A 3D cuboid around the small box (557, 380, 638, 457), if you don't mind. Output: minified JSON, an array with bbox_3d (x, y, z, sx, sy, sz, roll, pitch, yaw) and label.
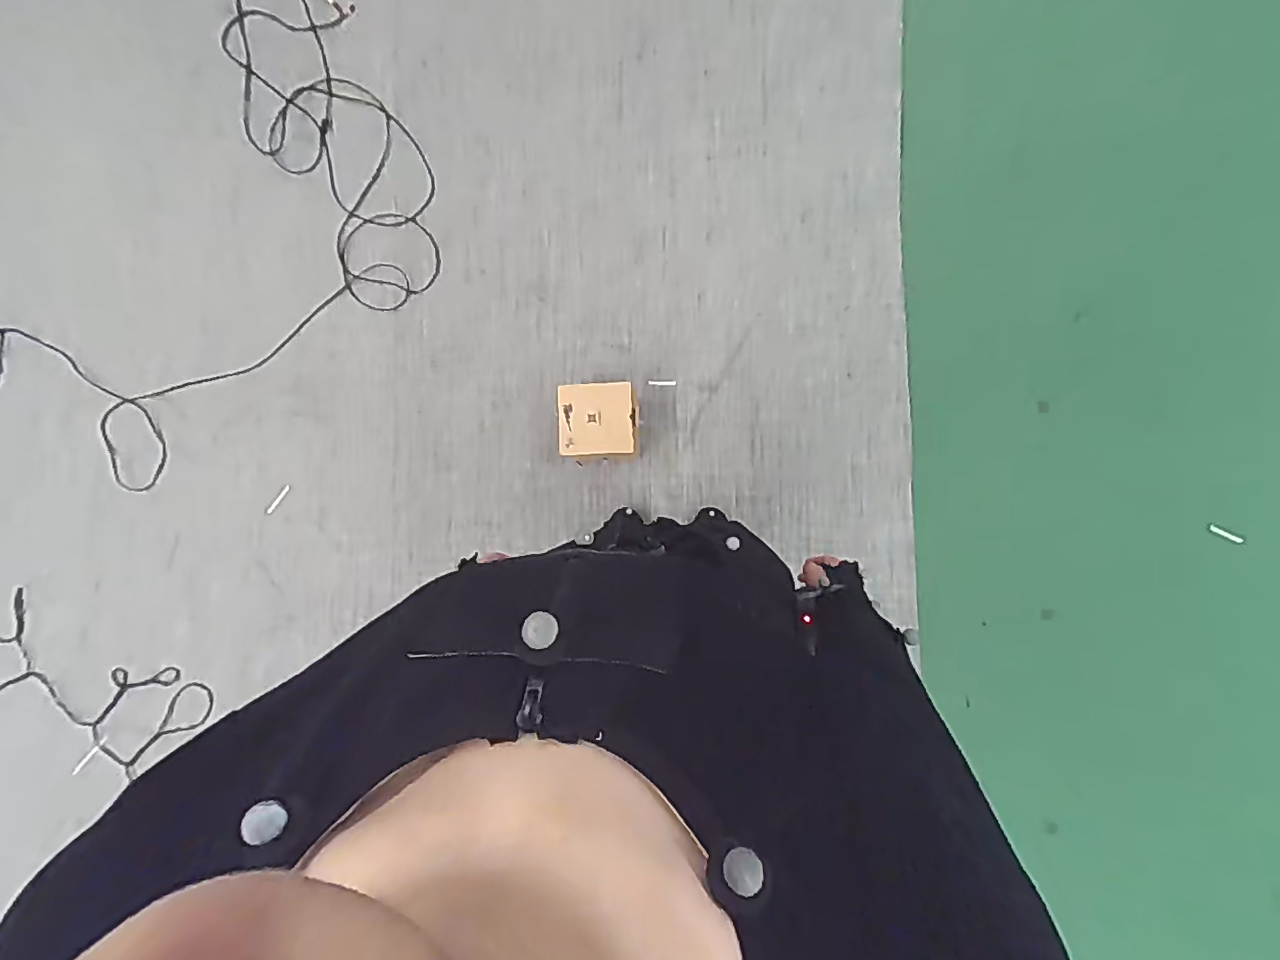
[{"bbox_3d":[-0.097,-0.146,1.322,0.179,0.176,0.168,-3,89,5],"label":"small box"}]
